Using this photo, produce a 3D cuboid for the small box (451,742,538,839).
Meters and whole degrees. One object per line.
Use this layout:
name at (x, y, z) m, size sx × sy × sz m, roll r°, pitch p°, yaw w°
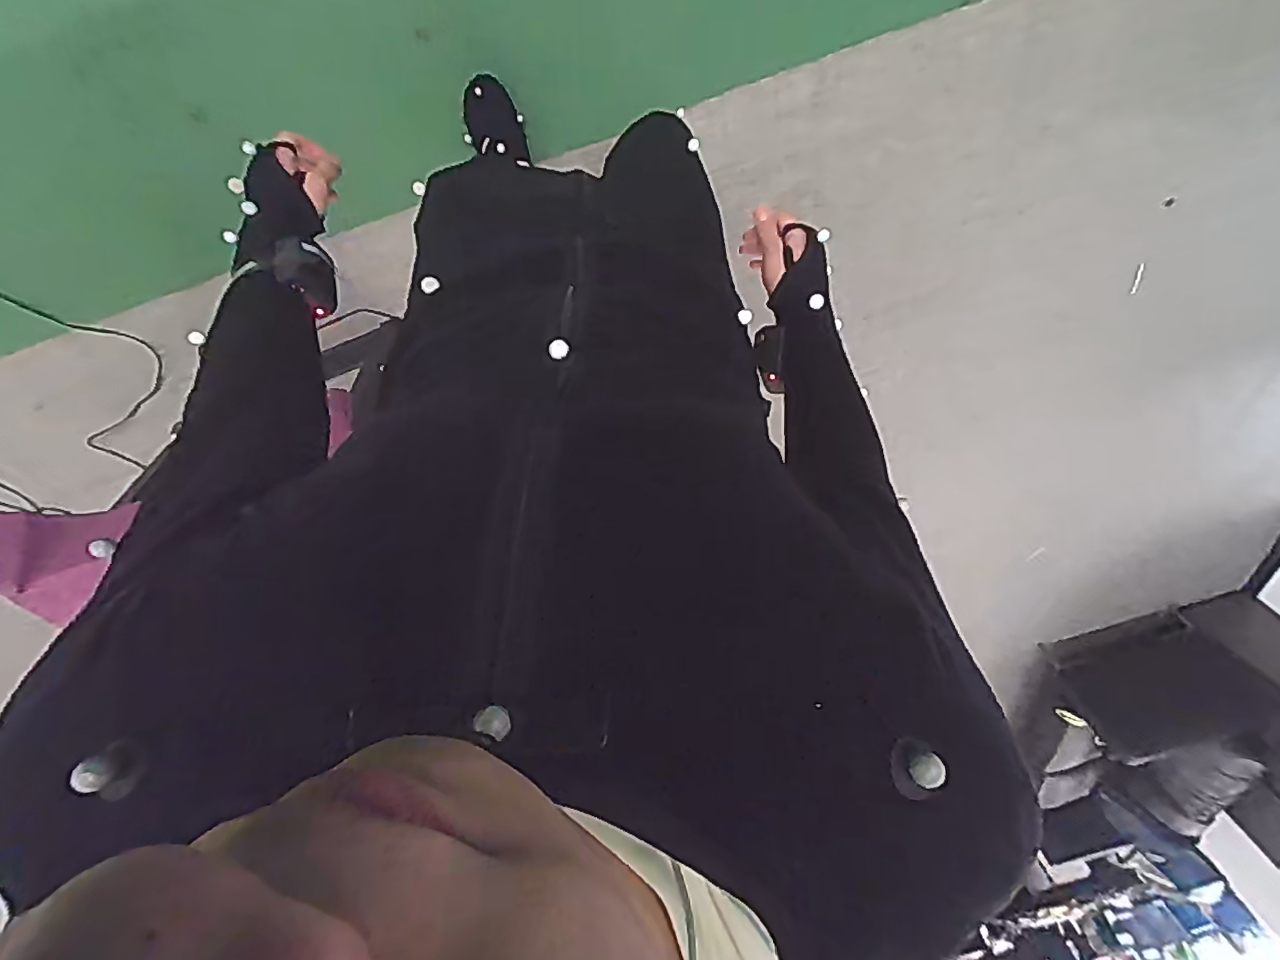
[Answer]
small box at (-0.401, 0.868, 1.515) m, size 0.179 × 0.176 × 0.168 m, roll -22°, pitch 130°, yaw 6°
